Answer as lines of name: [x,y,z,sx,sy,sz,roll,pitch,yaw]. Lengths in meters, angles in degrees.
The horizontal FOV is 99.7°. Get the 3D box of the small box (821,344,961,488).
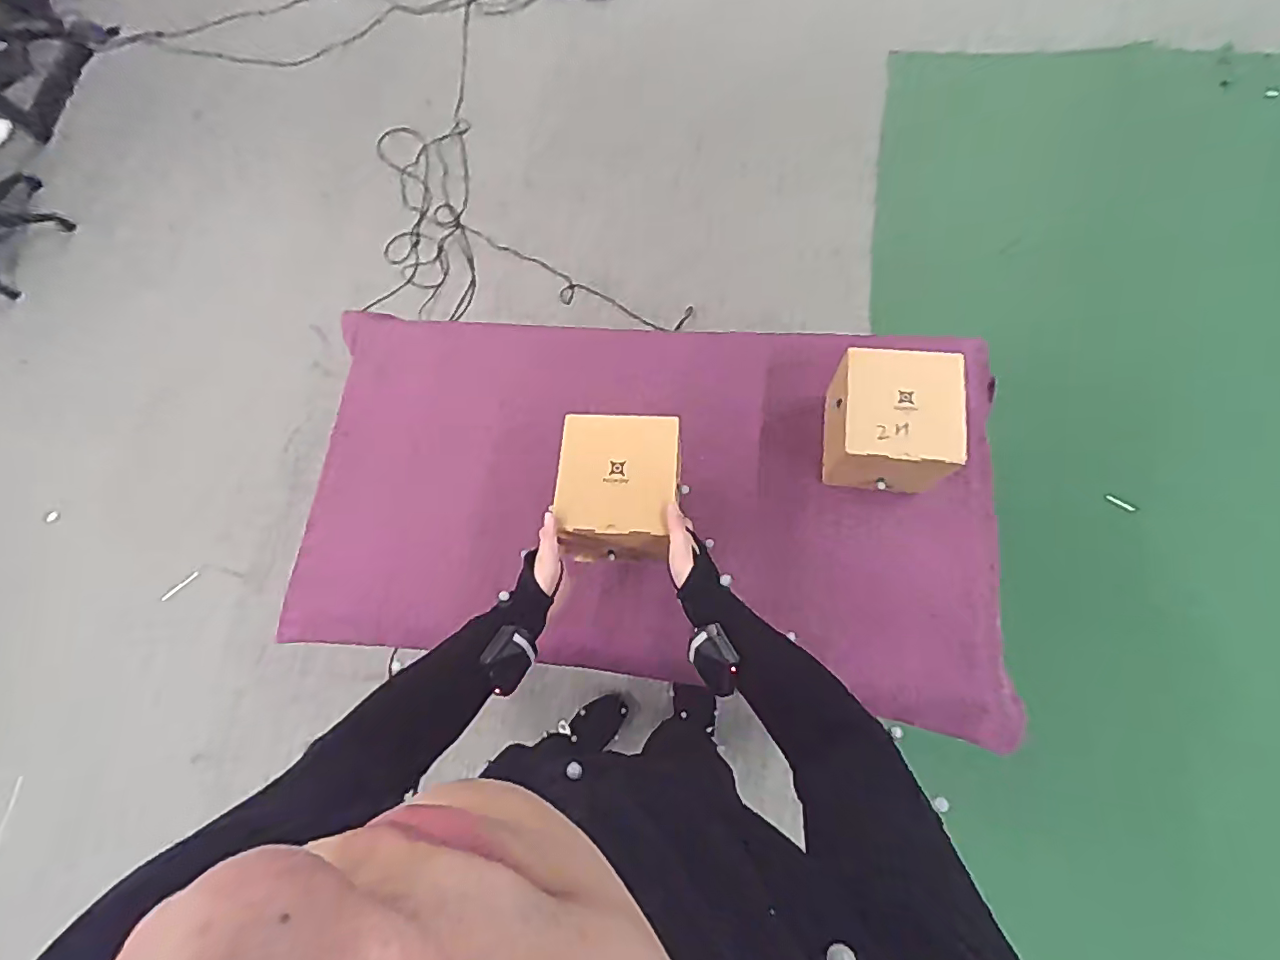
small box: [0.396,-0.098,0.876,0.168,0.176,0.179,5,76,9]

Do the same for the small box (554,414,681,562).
small box: [-0.025,0.017,0.816,0.168,0.176,0.179,2,70,5]
